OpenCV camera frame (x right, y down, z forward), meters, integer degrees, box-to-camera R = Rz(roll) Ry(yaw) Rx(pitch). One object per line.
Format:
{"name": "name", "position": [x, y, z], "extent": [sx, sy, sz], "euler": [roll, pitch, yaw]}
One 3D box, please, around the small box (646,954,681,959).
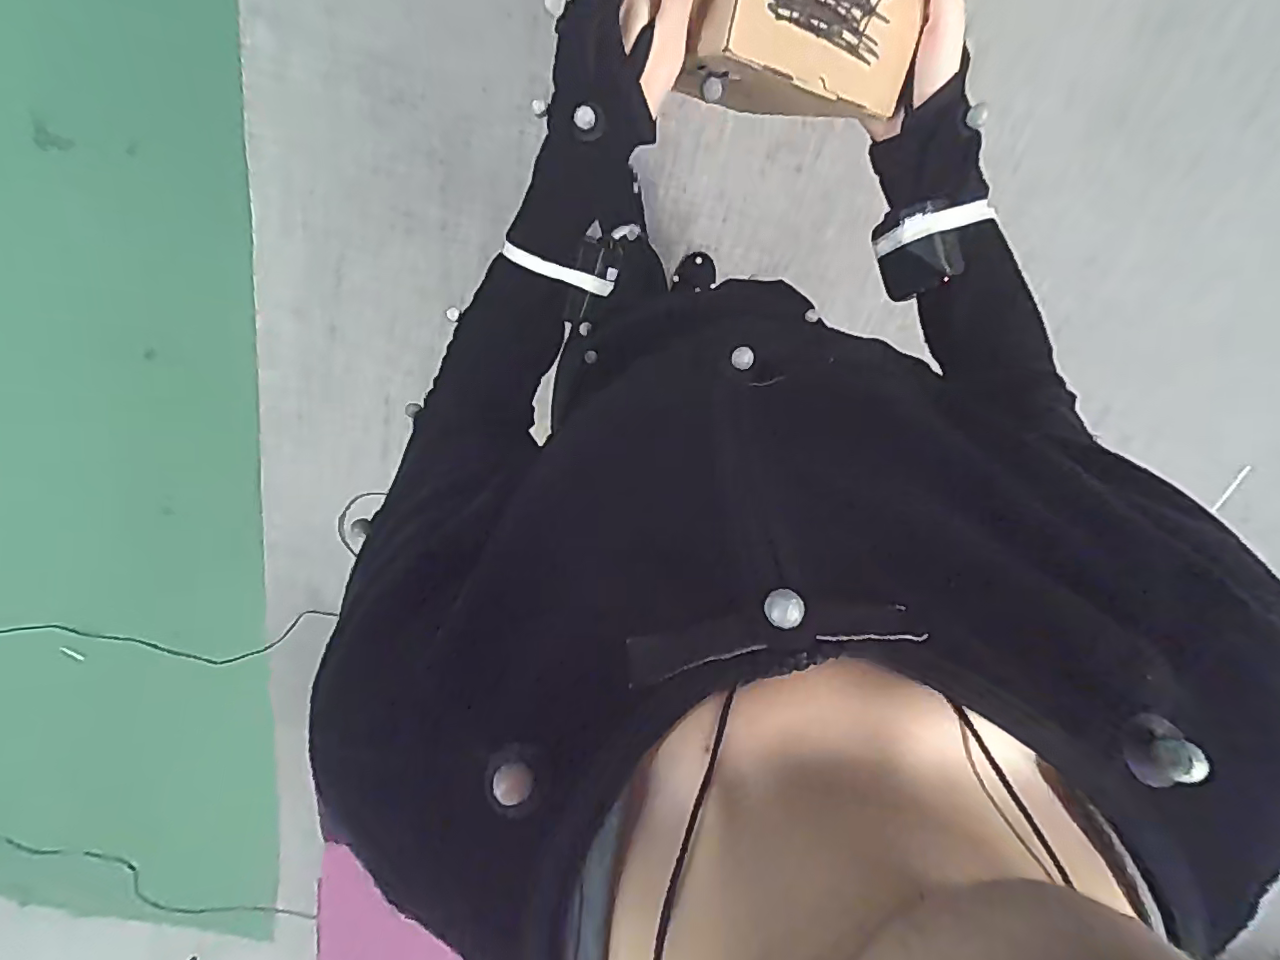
{"name": "small box", "position": [0.073, 1.243, 1.246], "extent": [0.179, 0.176, 0.168], "euler": [25, 112, -9]}
